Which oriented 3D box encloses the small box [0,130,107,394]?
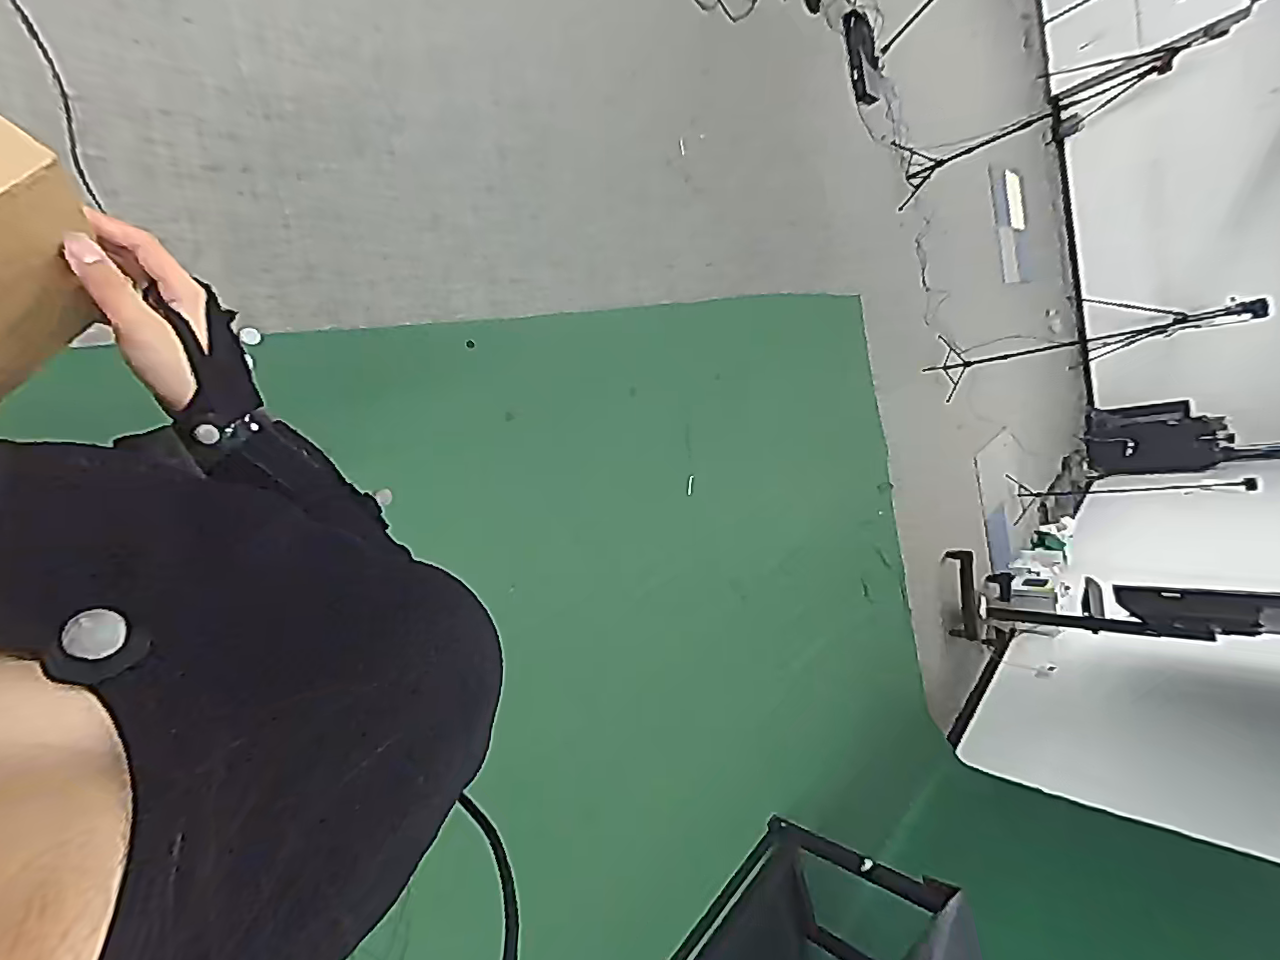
[{"bbox_3d":[-0.413,-0.115,0.252,0.168,0.176,0.179,39,64,-25],"label":"small box"}]
